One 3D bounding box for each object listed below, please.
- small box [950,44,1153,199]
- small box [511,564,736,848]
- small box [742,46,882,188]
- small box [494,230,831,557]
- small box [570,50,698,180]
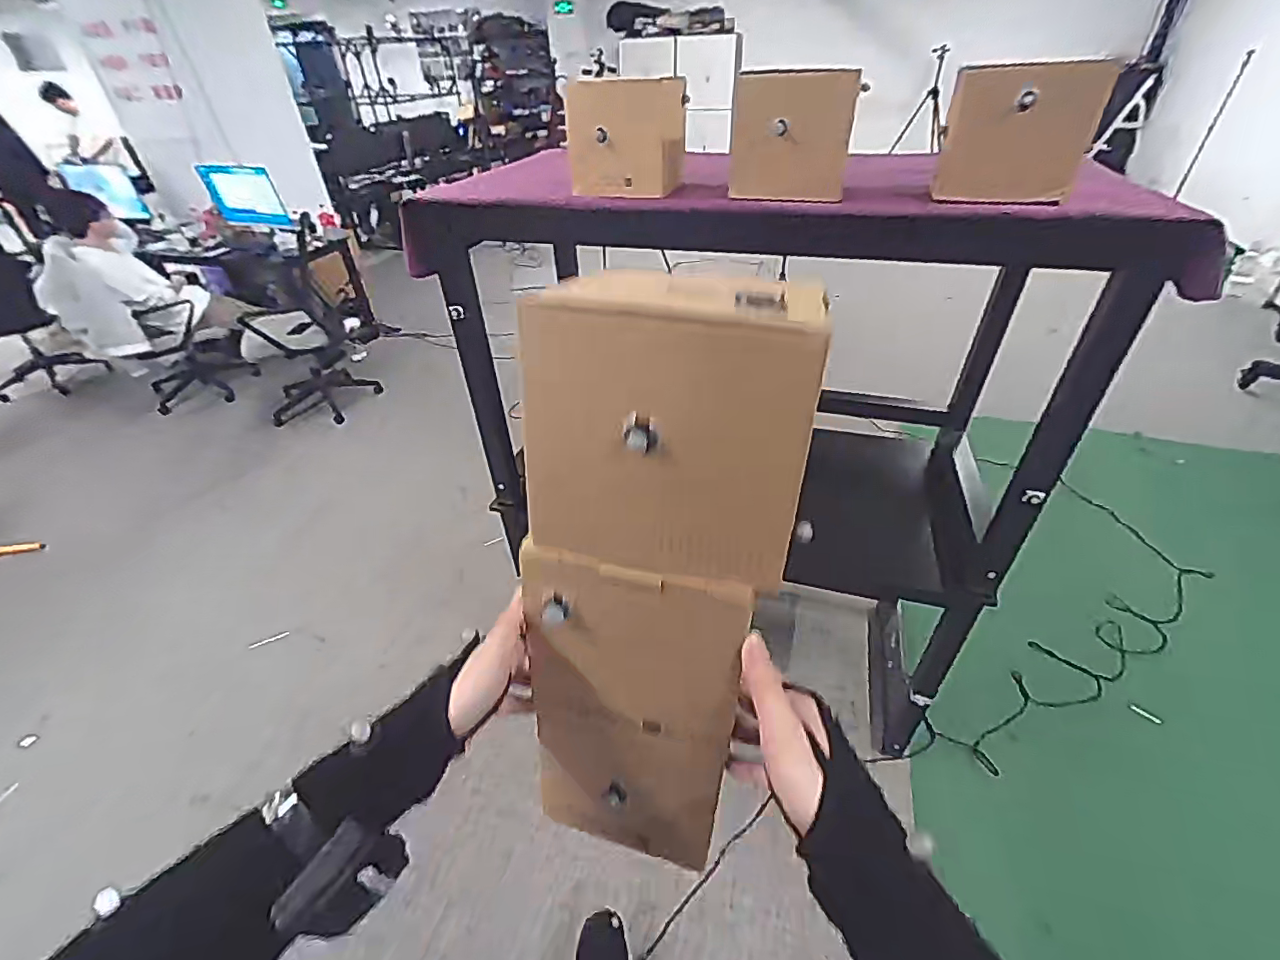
[{"bbox_3d":[0.558,-0.507,0.769,0.179,0.176,0.168,14,40,18],"label":"small box"},{"bbox_3d":[-0.009,0.216,0.539,0.168,0.176,0.179,13,28,14],"label":"small box"},{"bbox_3d":[0.262,-0.560,0.840,0.179,0.176,0.168,12,40,16],"label":"small box"},{"bbox_3d":[0.022,-0.068,0.373,0.179,0.176,0.168,11,29,14],"label":"small box"},{"bbox_3d":[-0.003,-0.612,0.910,0.168,0.176,0.179,11,38,14],"label":"small box"}]
